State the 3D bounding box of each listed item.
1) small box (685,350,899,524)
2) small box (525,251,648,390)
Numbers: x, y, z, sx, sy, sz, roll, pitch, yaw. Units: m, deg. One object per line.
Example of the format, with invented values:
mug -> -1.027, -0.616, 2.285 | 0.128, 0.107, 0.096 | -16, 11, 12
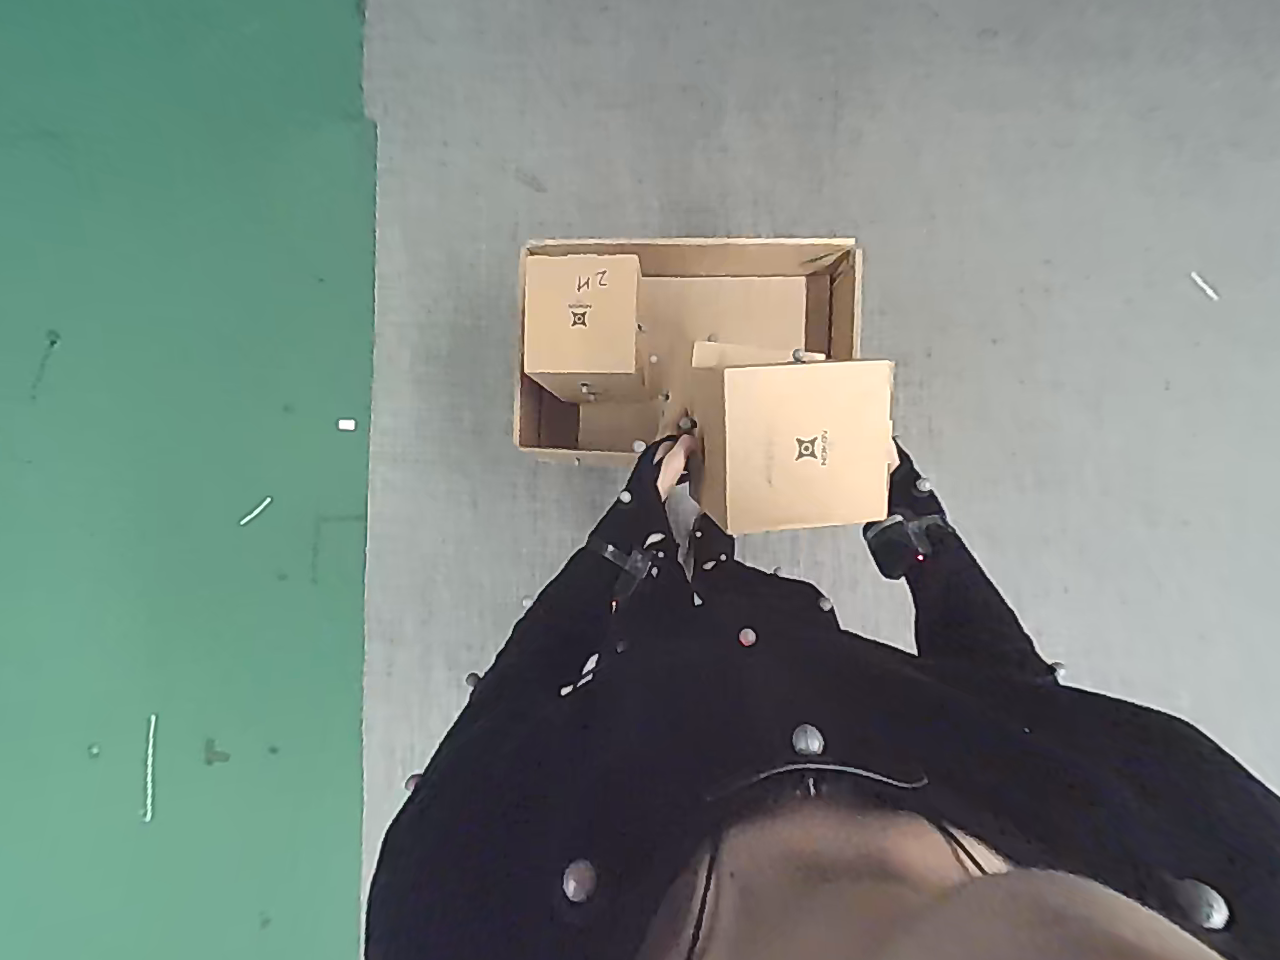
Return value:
small box -> 0.153, -0.056, 0.598 | 0.179, 0.176, 0.168 | -4, 101, -7
small box -> -0.075, -0.242, 0.856 | 0.168, 0.176, 0.179 | 2, 89, 5
